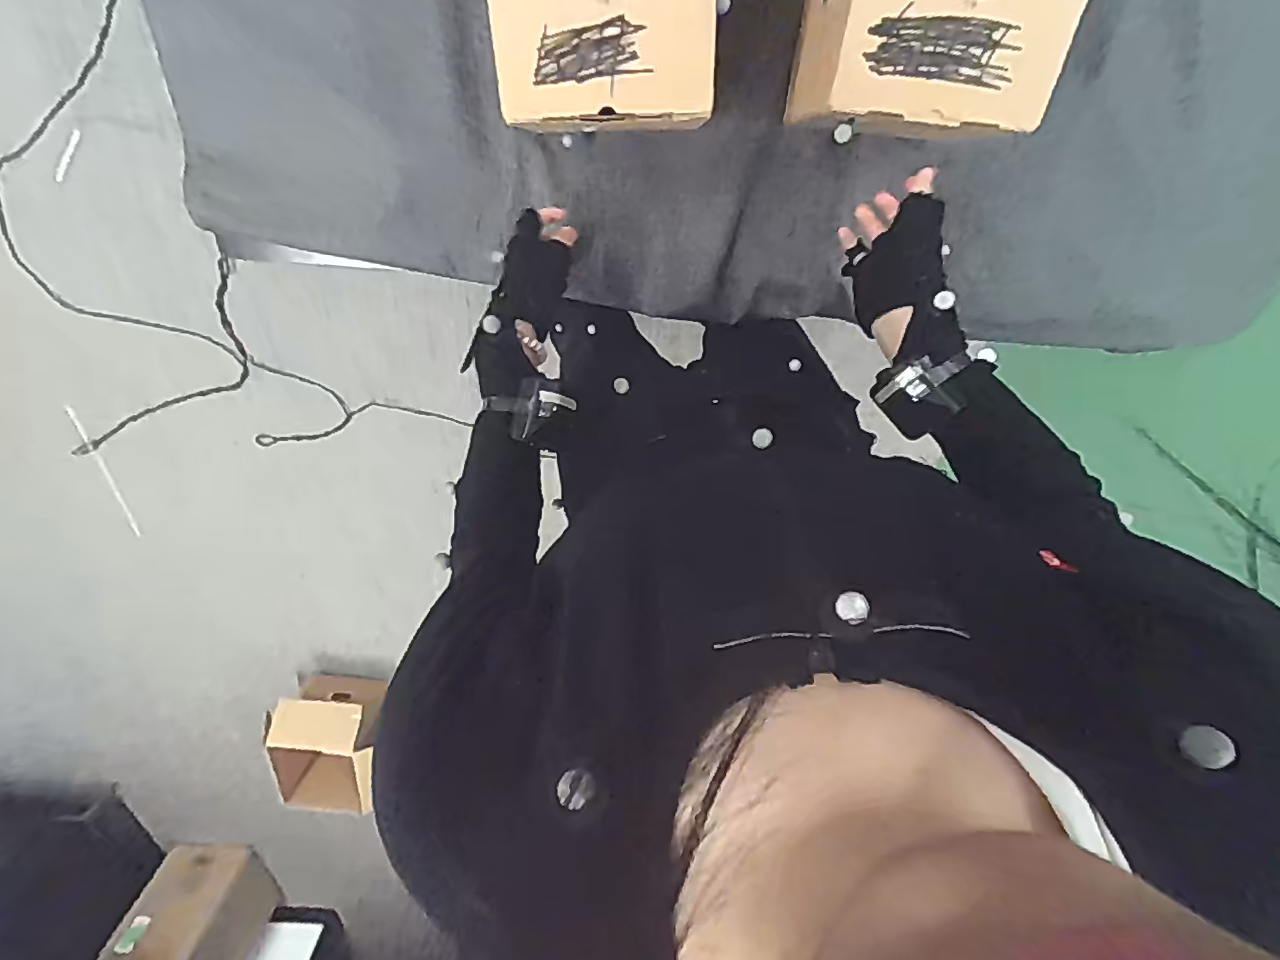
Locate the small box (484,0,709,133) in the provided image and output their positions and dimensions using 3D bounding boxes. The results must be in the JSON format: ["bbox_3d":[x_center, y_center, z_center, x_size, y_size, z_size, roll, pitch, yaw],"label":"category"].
[{"bbox_3d":[-0.028,-0.393,0.448,0.168,0.176,0.179,0,119,2],"label":"small box"}]
